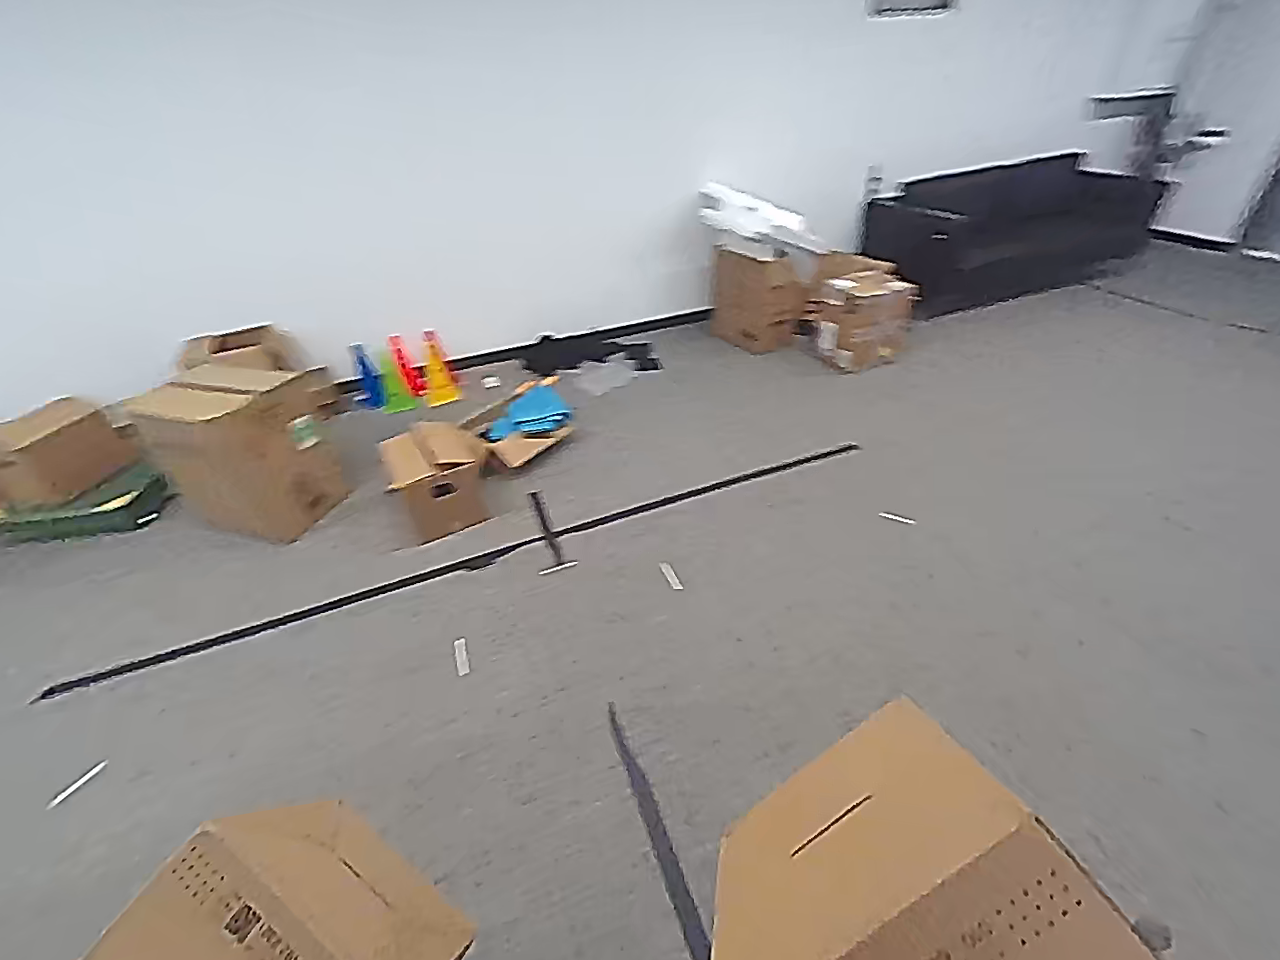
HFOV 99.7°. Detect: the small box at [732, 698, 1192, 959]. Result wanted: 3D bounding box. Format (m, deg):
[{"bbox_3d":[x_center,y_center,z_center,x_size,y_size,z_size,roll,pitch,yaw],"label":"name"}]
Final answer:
[{"bbox_3d":[0.159,0.245,0.271,0.168,0.179,0.176,-38,79,5],"label":"small box"}]
